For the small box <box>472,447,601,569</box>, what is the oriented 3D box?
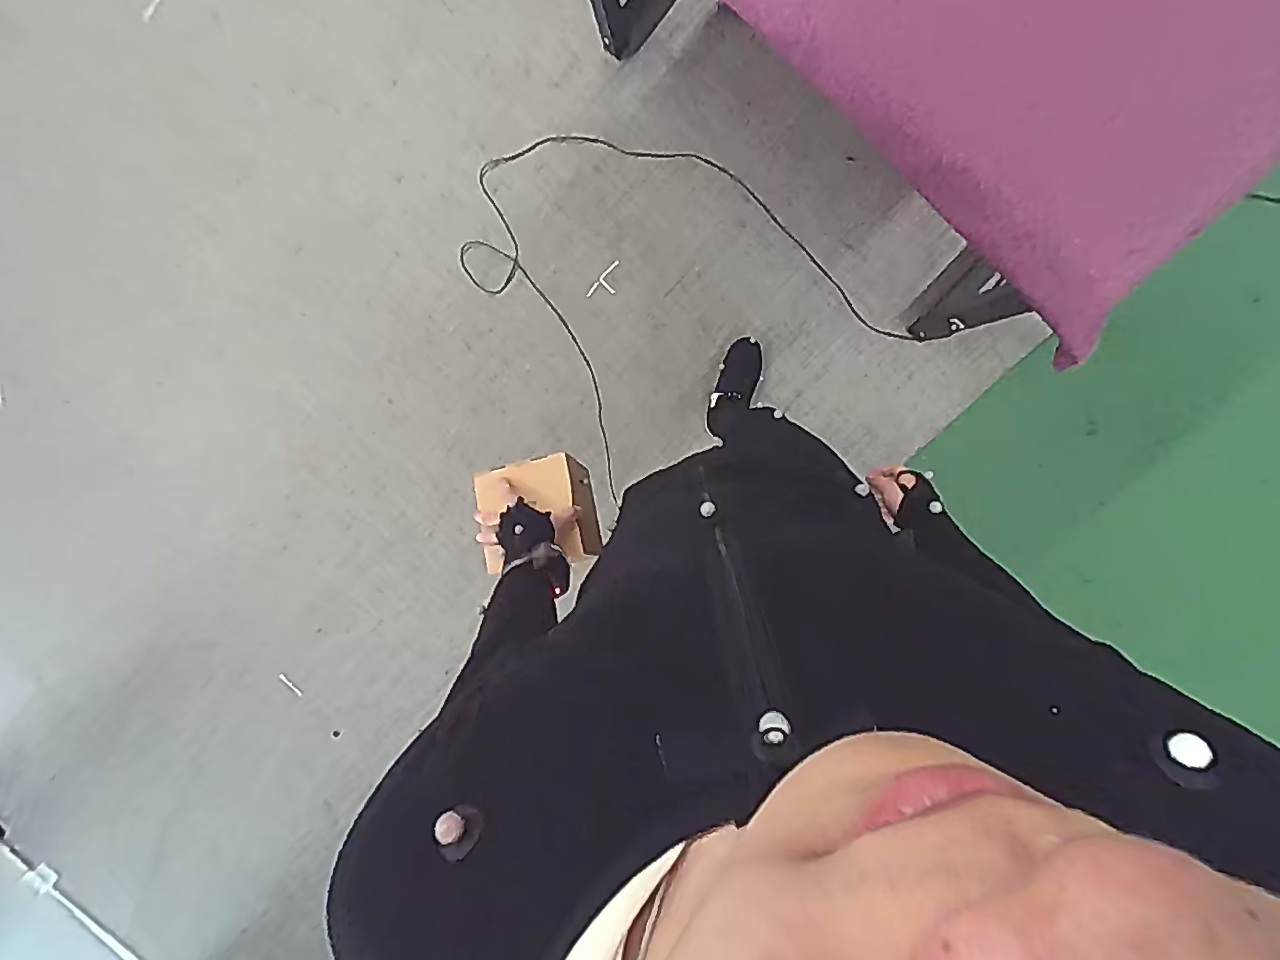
[{"bbox_3d":[-0.176,0.057,0.954,0.168,0.176,0.179,-13,79,7],"label":"small box"}]
